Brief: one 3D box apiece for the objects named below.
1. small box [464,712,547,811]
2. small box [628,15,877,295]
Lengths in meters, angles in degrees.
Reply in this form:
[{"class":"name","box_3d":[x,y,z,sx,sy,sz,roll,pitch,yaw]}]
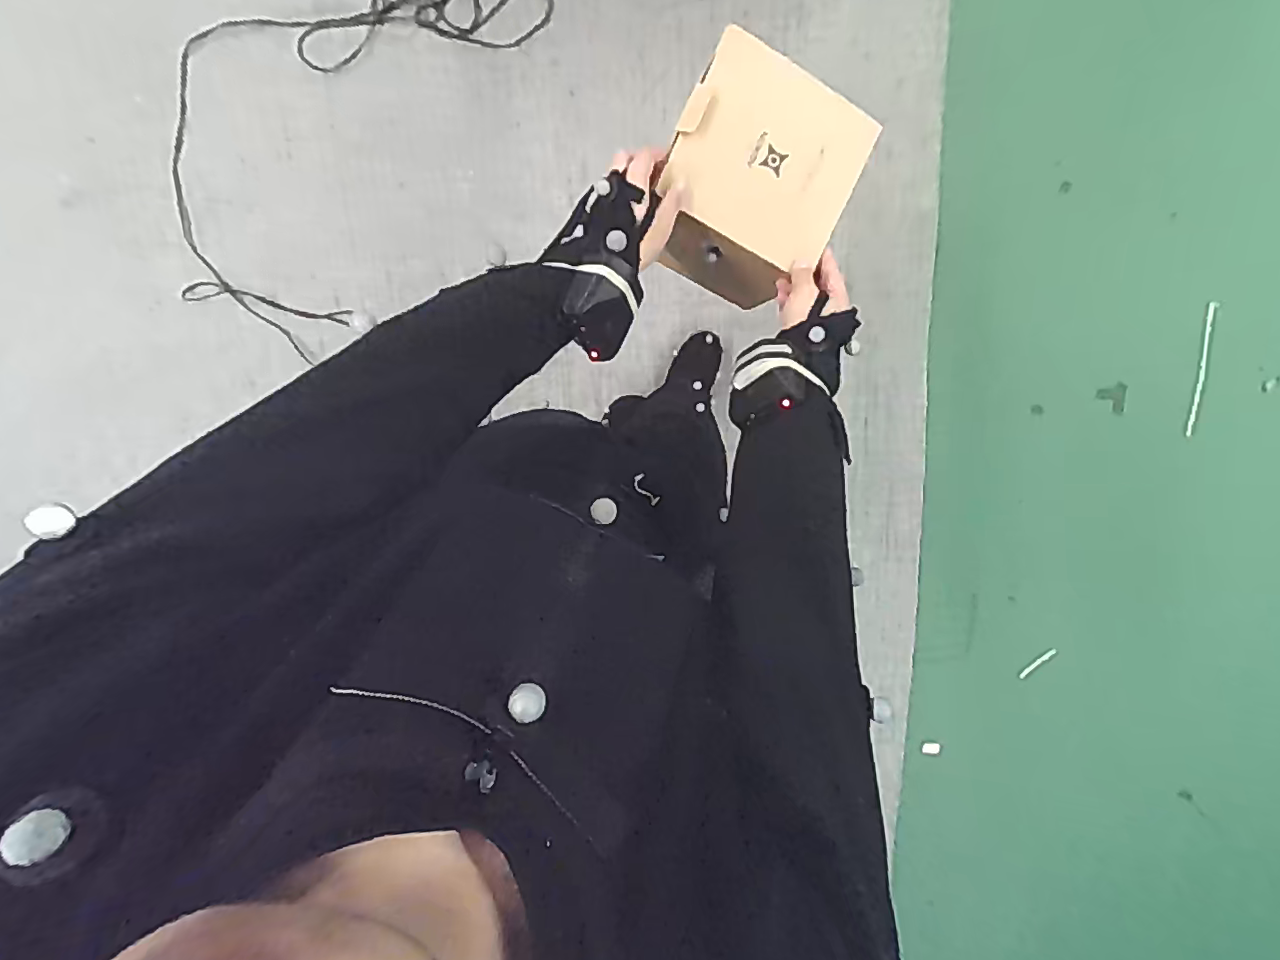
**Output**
[{"class":"small box","box_3d":[-0.346,0.737,1.429,0.179,0.176,0.168,-4,103,1]},{"class":"small box","box_3d":[0.102,-0.316,0.576,0.179,0.176,0.168,24,95,-13]}]
